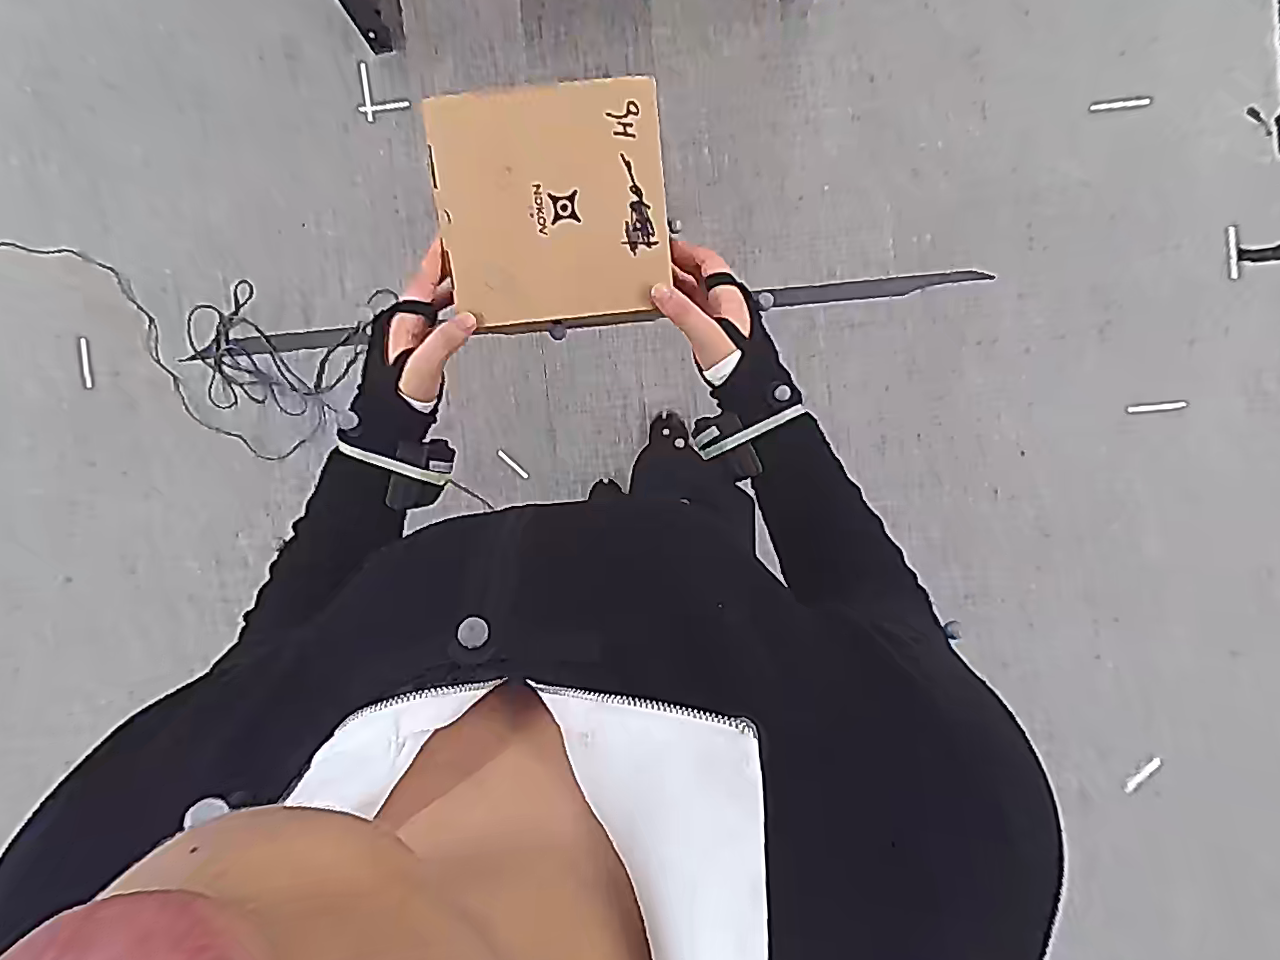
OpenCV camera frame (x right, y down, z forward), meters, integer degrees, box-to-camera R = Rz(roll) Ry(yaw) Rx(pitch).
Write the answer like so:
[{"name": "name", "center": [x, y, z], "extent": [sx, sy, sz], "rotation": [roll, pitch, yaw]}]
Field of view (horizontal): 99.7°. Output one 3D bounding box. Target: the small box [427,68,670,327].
[{"name": "small box", "center": [-0.069, -0.238, 0.500], "extent": [0.179, 0.176, 0.168], "rotation": [-6, 103, 0]}]
